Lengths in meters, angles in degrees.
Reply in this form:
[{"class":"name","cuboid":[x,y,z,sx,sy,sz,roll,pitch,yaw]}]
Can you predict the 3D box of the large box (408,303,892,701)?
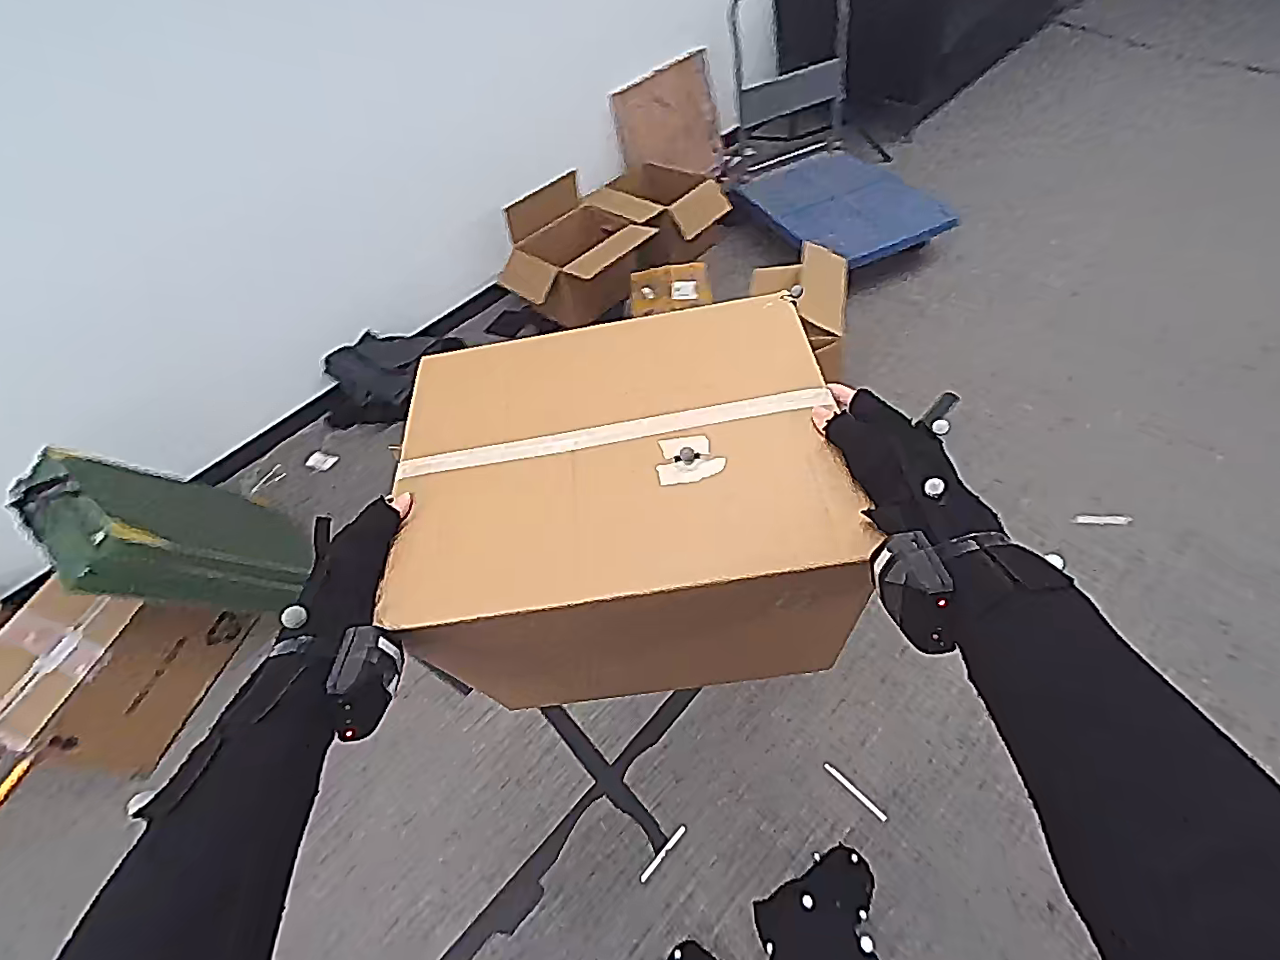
[{"class":"large box","cuboid":[0.007,0.044,0.636,0.408,0.320,0.320,-8,56,3]}]
